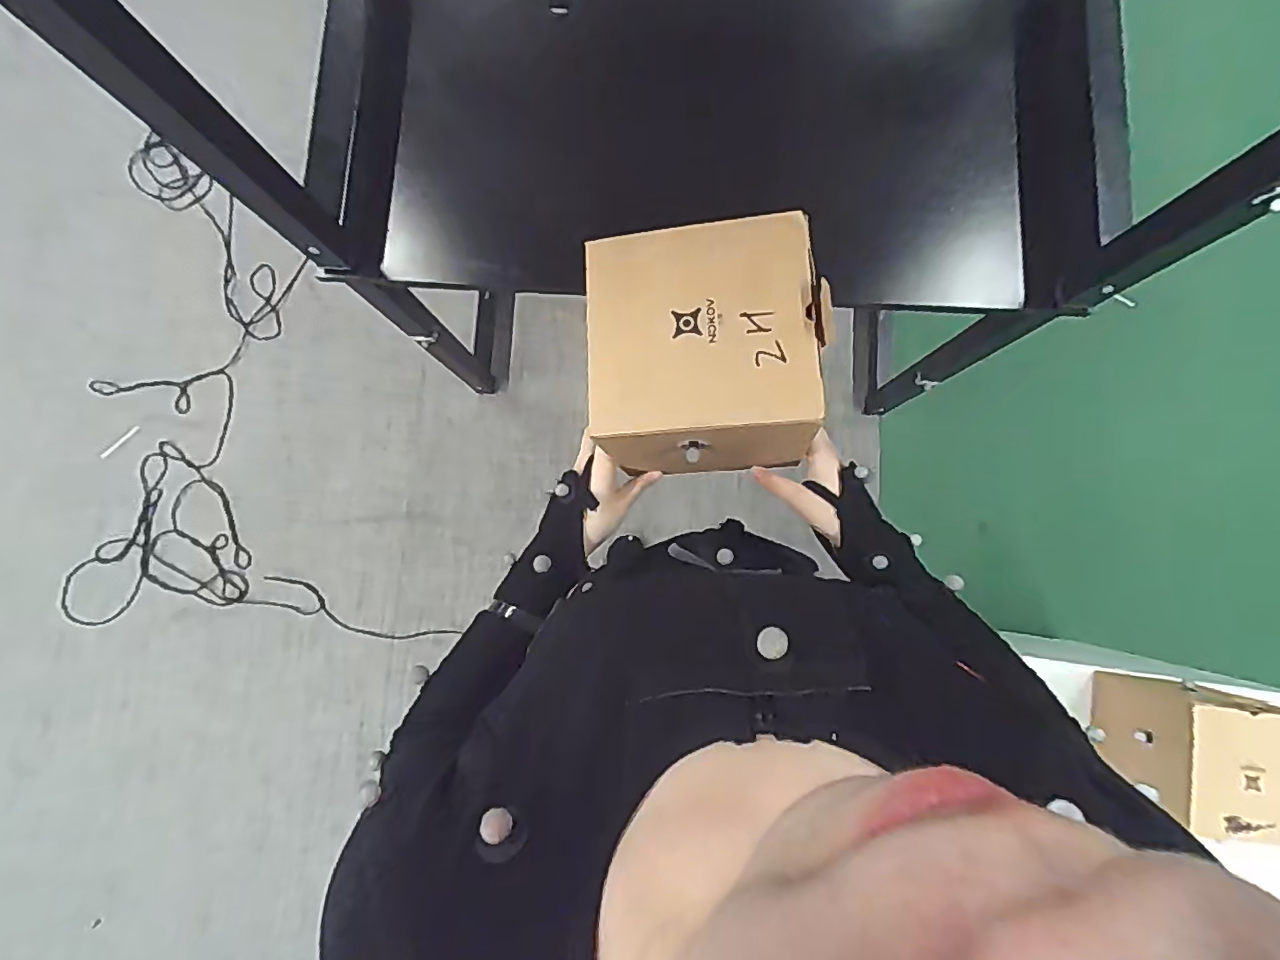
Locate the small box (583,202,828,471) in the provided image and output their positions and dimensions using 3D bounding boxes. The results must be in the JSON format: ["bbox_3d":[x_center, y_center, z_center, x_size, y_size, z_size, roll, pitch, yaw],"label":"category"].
[{"bbox_3d":[0.057,-0.105,0.475,0.179,0.176,0.168,-4,79,9],"label":"small box"}]

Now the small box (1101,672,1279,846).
[{"bbox_3d":[0.816,0.390,0.781,0.168,0.176,0.179,6,84,3],"label":"small box"}]
